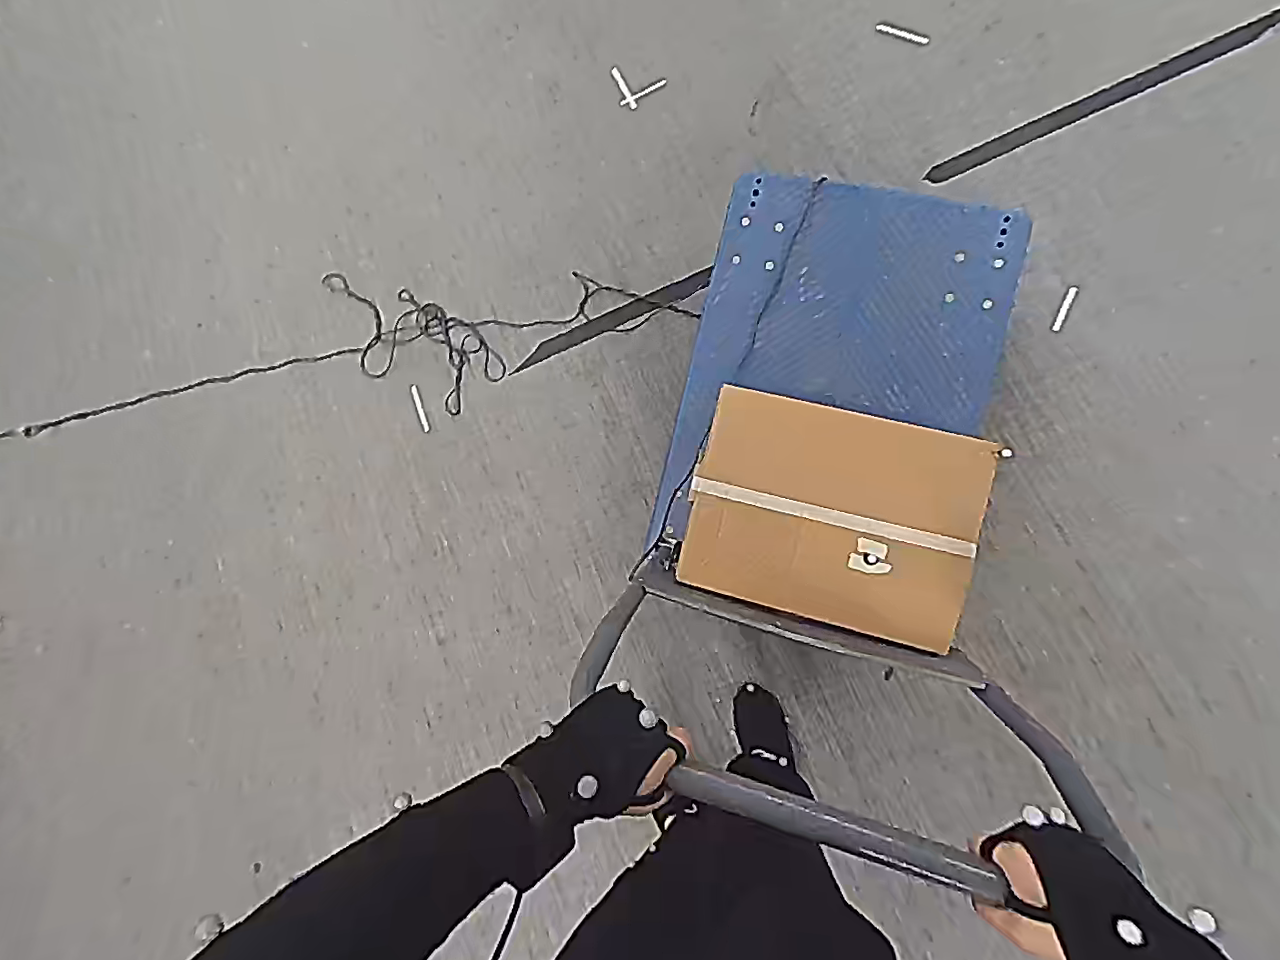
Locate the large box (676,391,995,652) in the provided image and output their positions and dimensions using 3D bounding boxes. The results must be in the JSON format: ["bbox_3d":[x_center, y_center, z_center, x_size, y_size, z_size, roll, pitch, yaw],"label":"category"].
[{"bbox_3d":[0.296,0.057,0.937,0.408,0.320,0.320,14,92,8],"label":"large box"}]
